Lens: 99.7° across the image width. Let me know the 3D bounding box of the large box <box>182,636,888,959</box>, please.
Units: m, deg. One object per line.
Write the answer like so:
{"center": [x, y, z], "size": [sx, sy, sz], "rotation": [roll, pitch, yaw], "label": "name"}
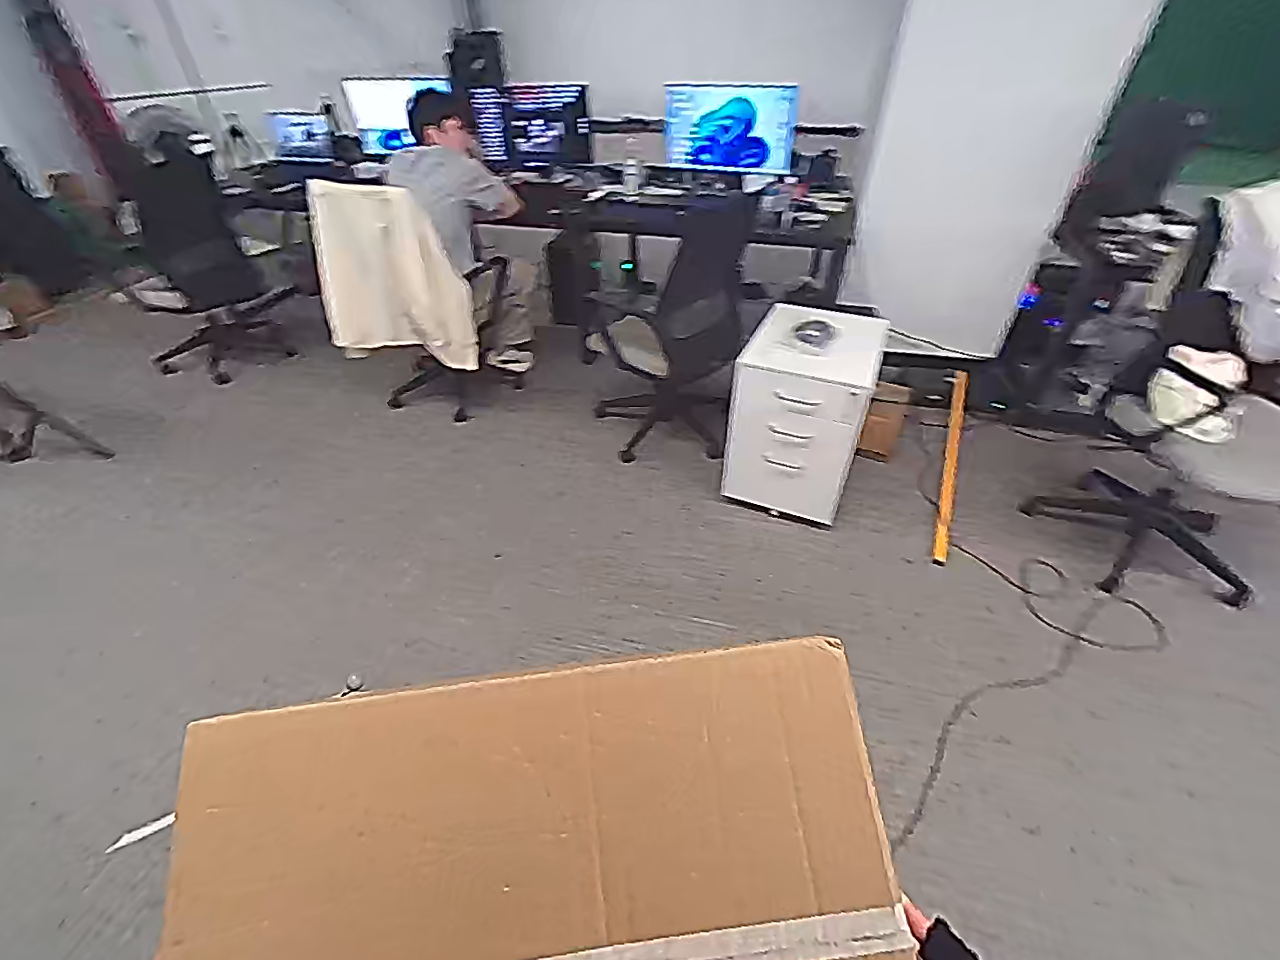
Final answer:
{"center": [-0.061, 0.321, 0.446], "size": [0.408, 0.320, 0.320], "rotation": [-7, 73, -3], "label": "large box"}
